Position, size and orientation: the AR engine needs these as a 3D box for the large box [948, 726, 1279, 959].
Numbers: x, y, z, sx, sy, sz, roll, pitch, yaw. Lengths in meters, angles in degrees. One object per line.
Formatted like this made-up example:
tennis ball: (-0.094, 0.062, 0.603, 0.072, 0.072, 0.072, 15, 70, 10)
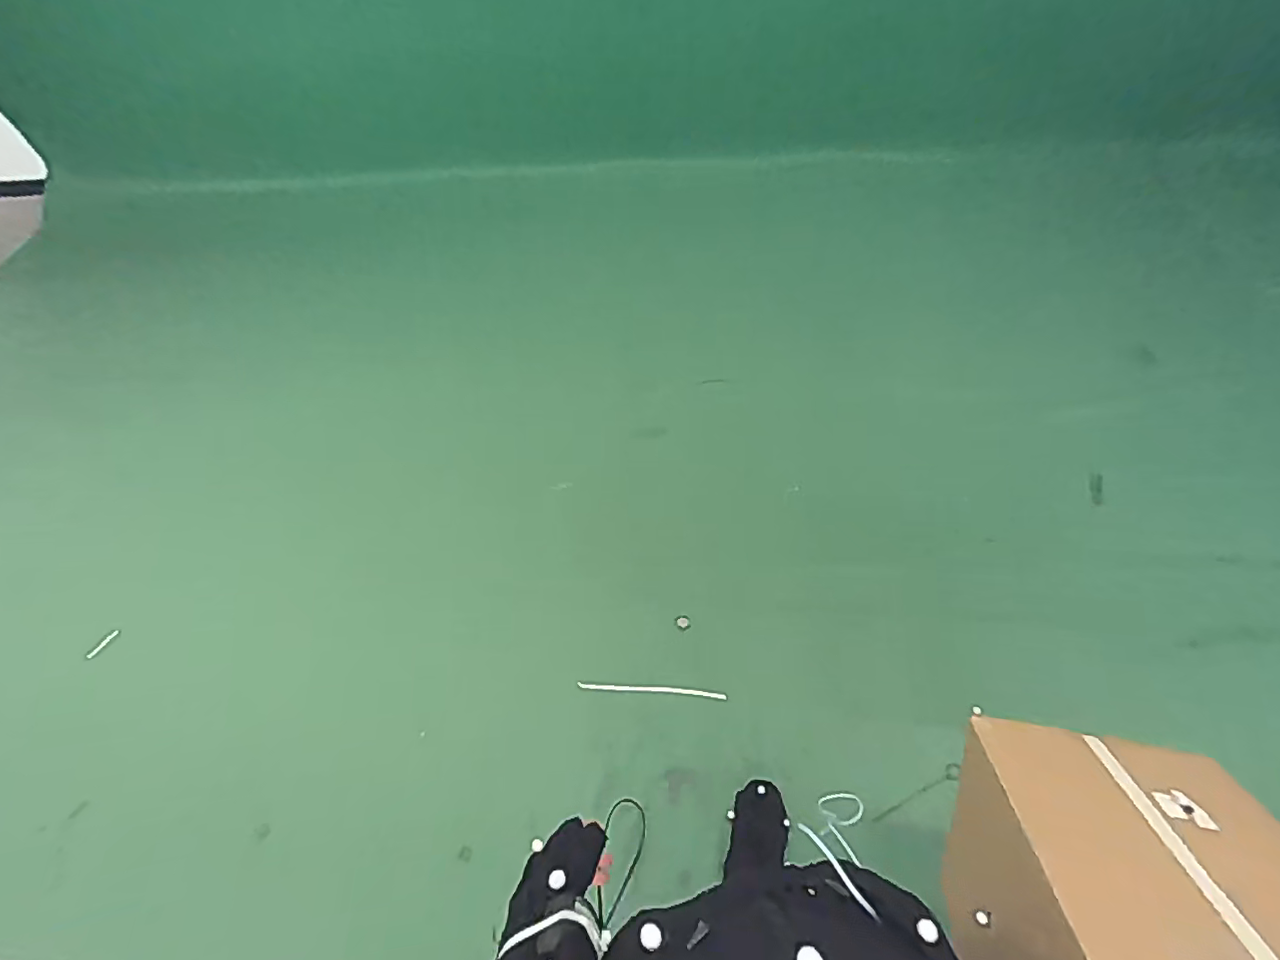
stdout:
large box: (0.604, 0.578, 0.648, 0.320, 0.408, 0.320, 6, 101, 16)
